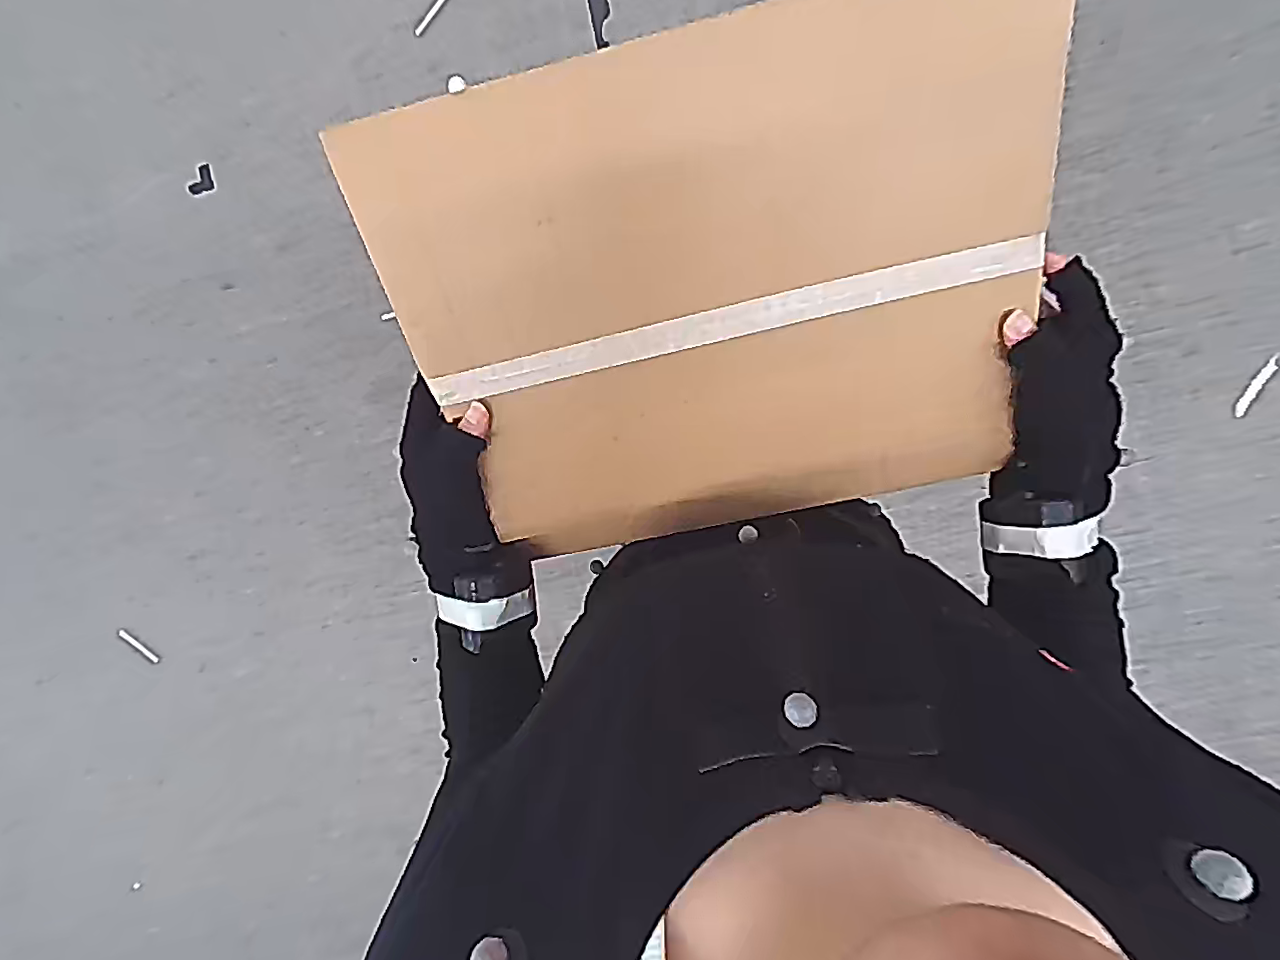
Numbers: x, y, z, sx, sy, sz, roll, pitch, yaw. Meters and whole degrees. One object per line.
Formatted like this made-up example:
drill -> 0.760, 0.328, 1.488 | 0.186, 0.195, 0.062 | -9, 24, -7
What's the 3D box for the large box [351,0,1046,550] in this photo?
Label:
large box -> 0.050, -0.180, 0.498 | 0.408, 0.320, 0.320 | -12, 120, 6
